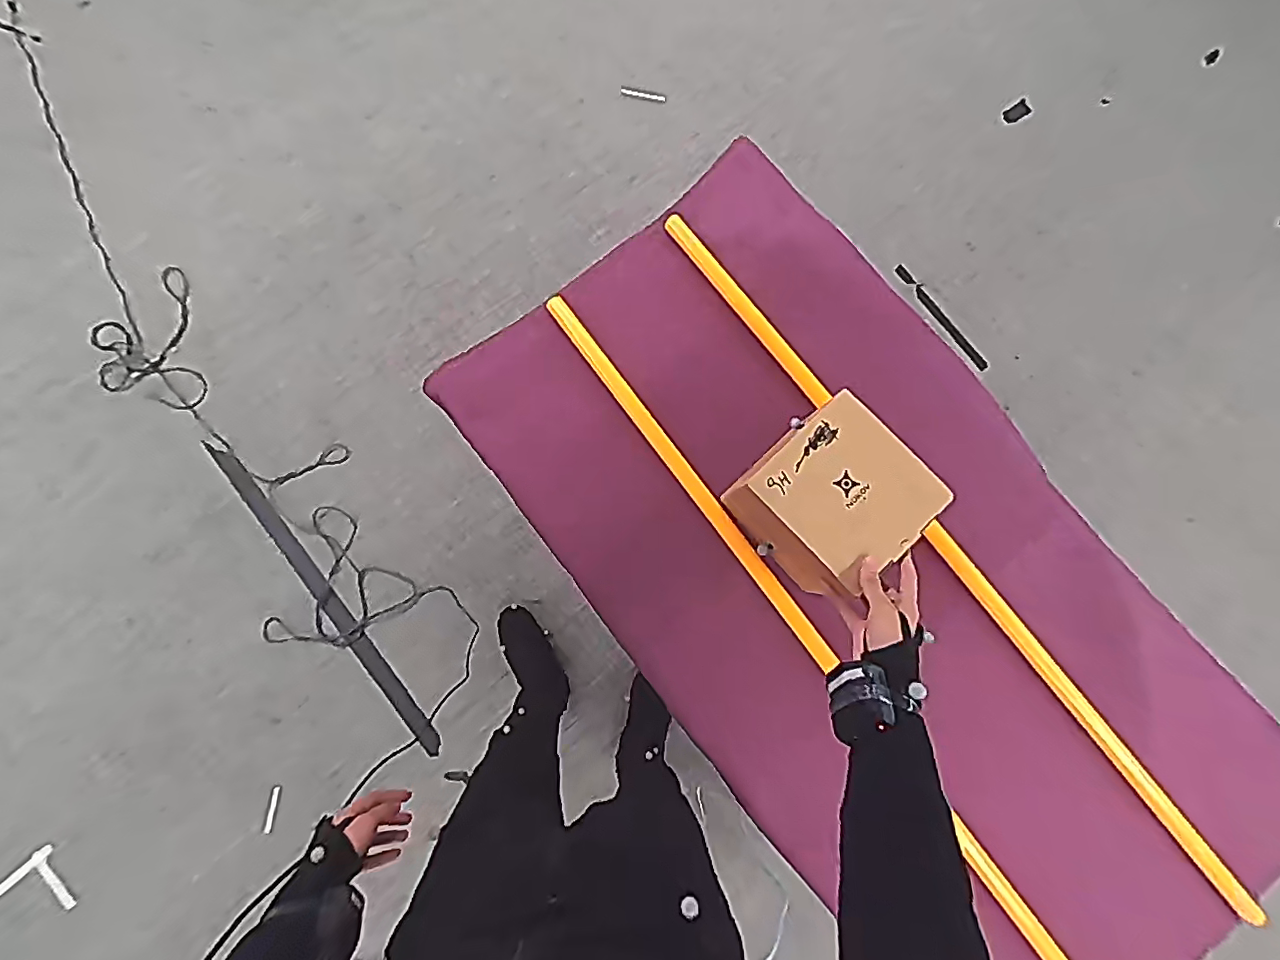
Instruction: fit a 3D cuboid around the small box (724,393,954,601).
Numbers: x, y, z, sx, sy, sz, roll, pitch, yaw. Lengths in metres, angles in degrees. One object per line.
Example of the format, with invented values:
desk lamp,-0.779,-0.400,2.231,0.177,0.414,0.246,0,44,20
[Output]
small box,0.231,0.025,0.675,0.168,0.176,0.179,-42,86,-8
